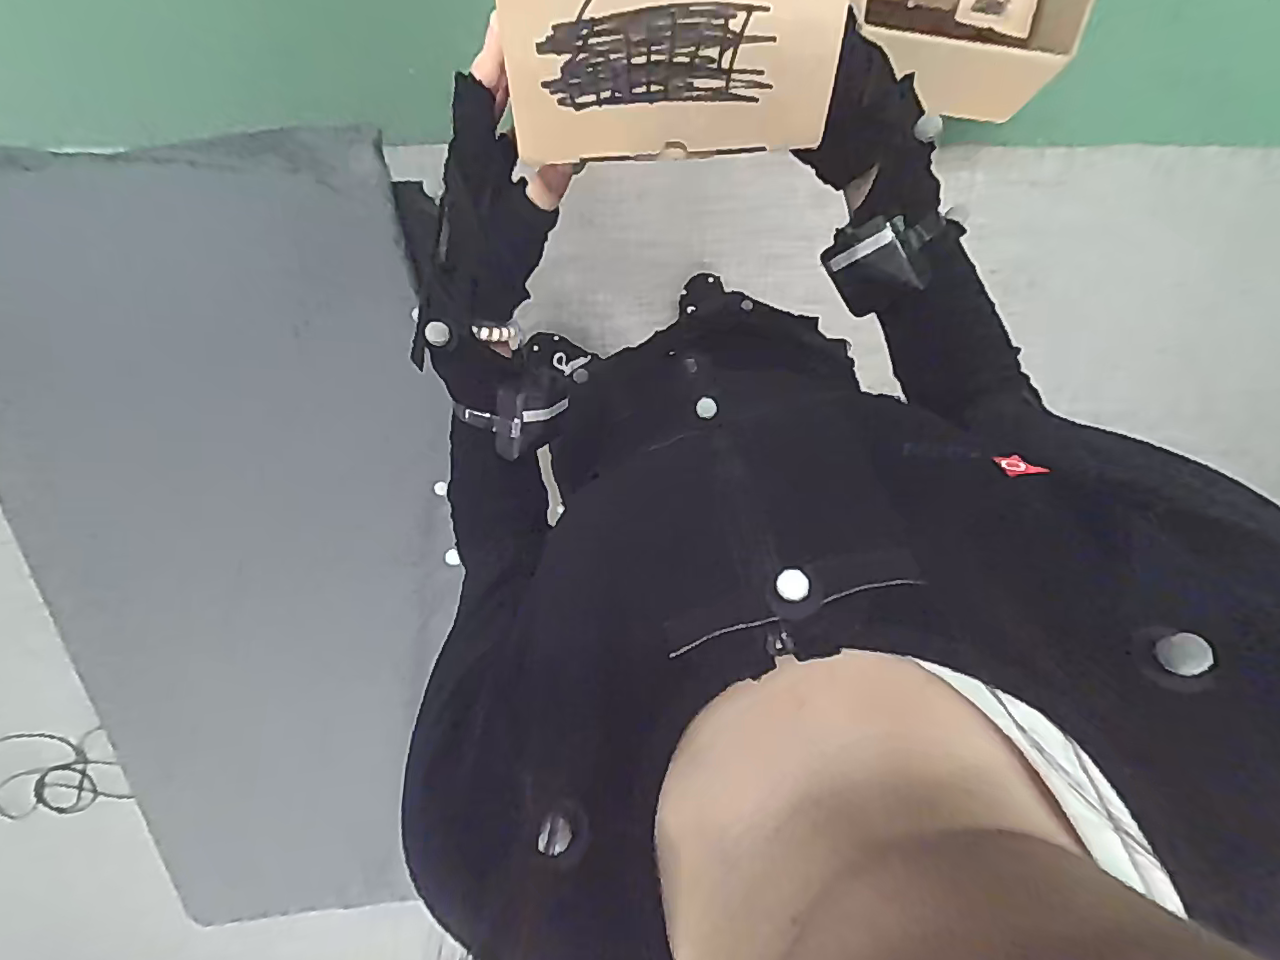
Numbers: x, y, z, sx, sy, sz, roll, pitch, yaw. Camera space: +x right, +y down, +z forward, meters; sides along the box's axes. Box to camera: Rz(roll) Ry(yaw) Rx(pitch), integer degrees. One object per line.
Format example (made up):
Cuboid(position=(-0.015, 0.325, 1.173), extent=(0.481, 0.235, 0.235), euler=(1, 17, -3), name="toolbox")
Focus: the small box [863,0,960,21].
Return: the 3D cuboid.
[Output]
Cuboid(position=(0.507, -0.947, 0.931), extent=(0.168, 0.176, 0.179), euler=(8, 109, -5), name="small box")
